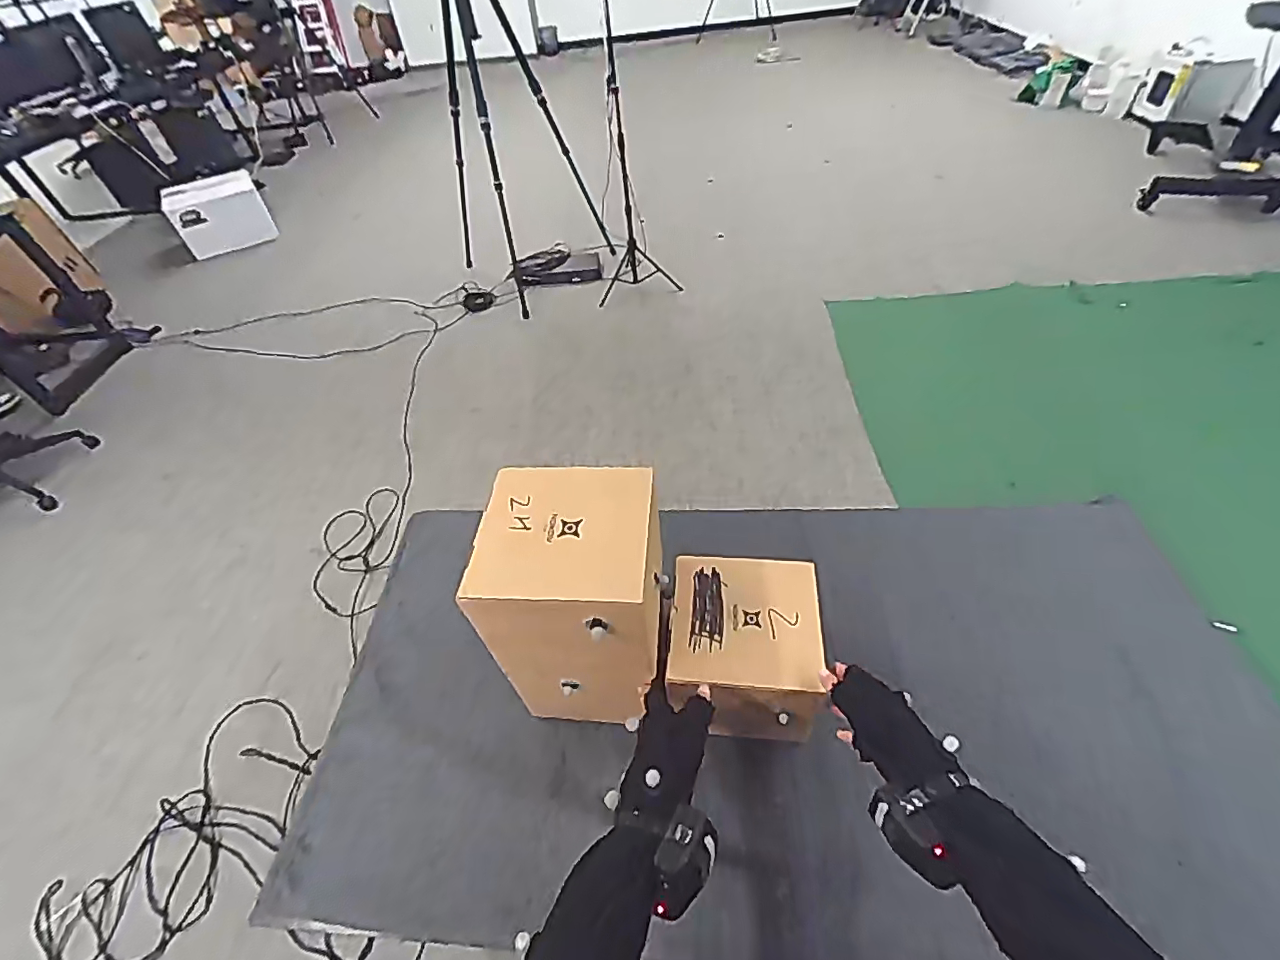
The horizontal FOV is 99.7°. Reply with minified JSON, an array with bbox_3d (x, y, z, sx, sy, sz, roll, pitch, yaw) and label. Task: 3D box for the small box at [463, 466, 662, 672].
[{"bbox_3d":[-0.067,0.102,0.605,0.179,0.176,0.168,0,47,6],"label":"small box"}]
